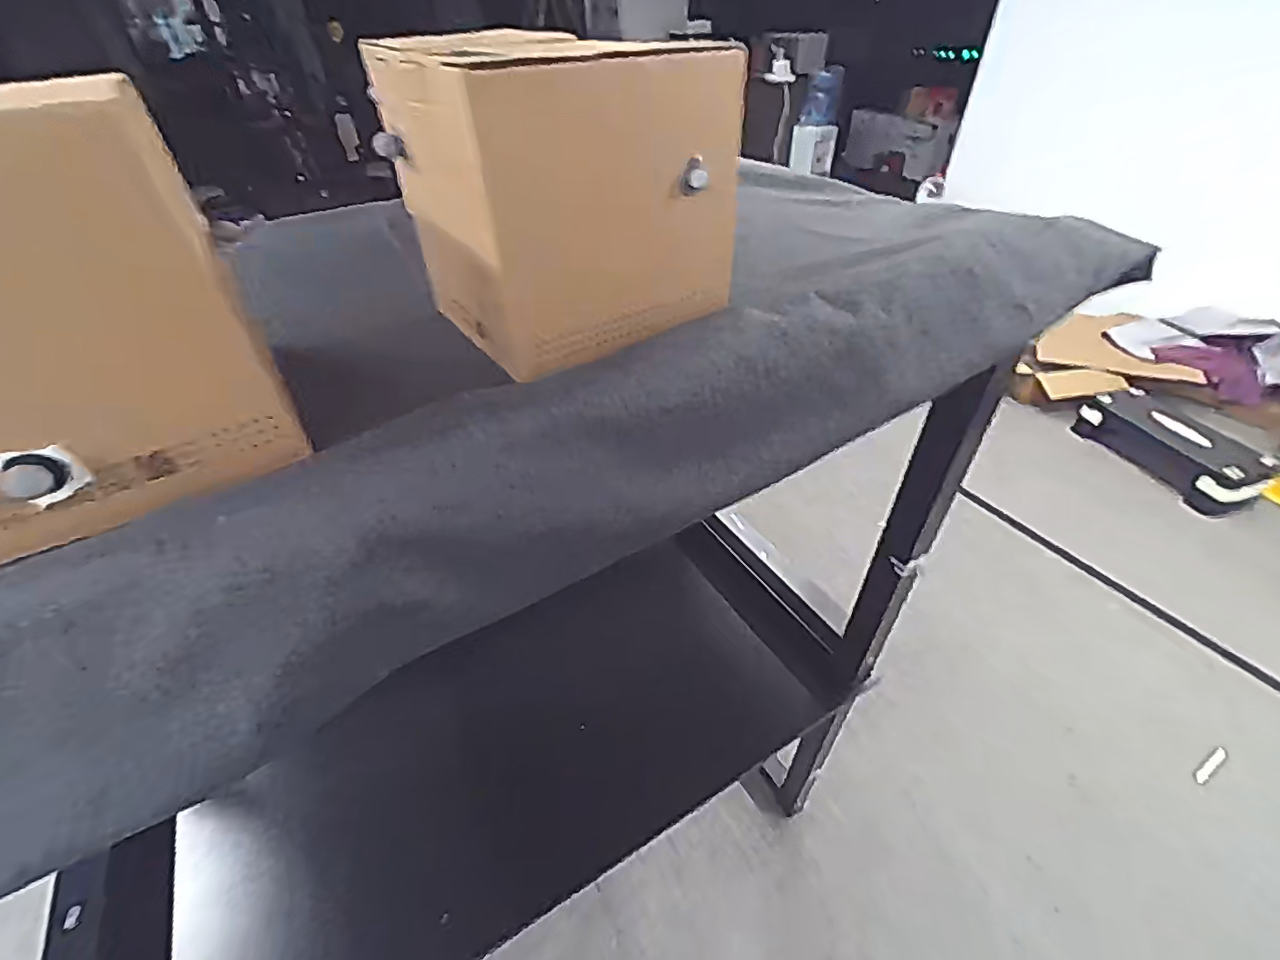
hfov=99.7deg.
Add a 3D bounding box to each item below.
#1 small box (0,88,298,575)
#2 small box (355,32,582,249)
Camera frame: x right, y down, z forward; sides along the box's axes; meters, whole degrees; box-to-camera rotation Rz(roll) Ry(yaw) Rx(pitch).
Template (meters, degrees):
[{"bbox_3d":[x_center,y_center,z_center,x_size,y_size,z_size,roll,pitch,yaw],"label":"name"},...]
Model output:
[{"bbox_3d":[-0.301,-0.078,0.264,0.168,0.176,0.179,-27,46,-24],"label":"small box"},{"bbox_3d":[-0.175,-0.364,0.581,0.168,0.176,0.179,-24,46,-22],"label":"small box"}]
